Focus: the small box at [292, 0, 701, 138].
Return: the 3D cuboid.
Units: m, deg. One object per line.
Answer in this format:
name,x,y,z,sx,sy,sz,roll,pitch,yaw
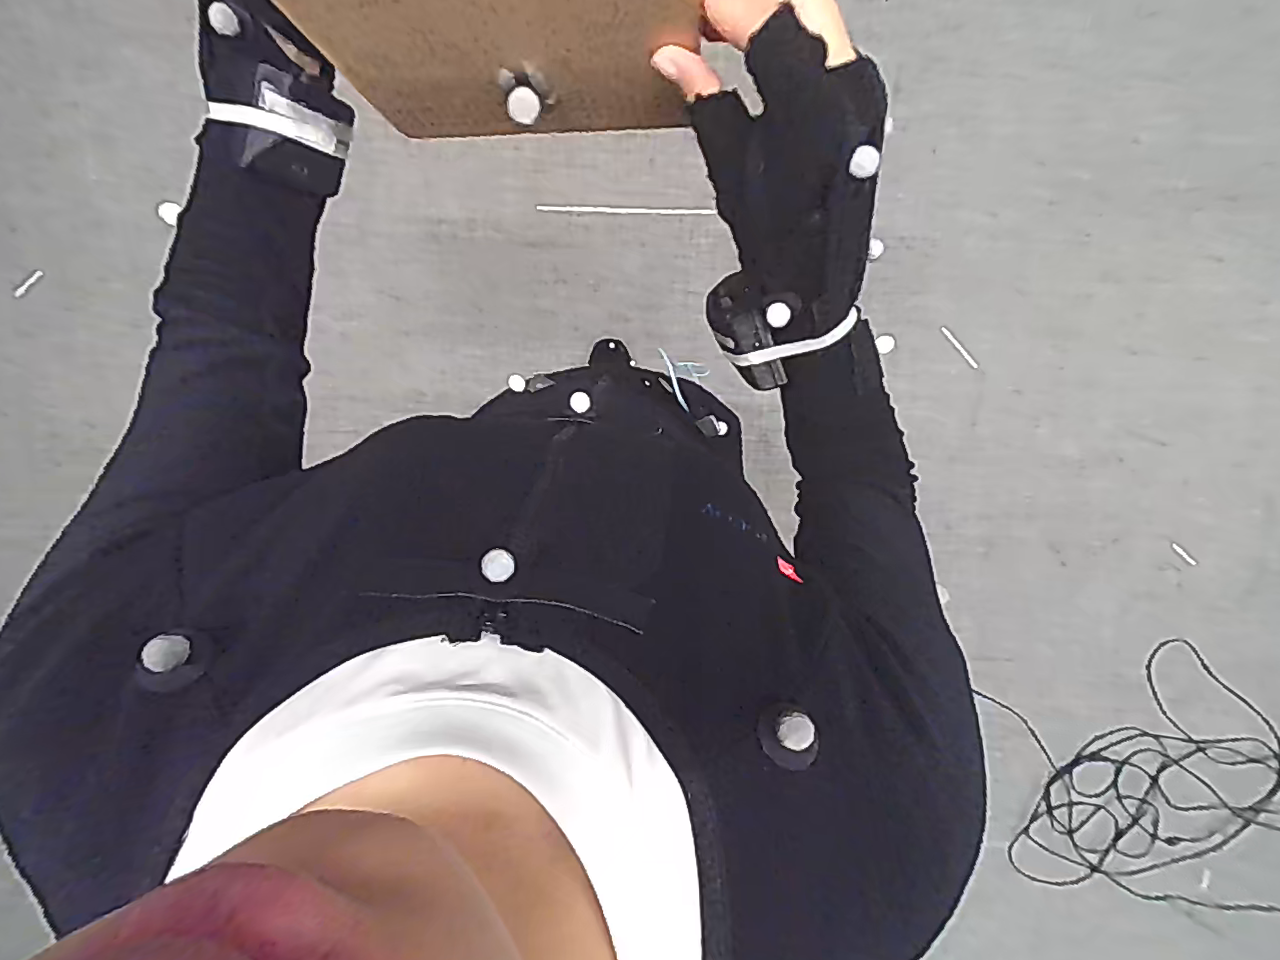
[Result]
small box,-0.059,-0.281,0.236,0.179,0.176,0.168,0,92,6
